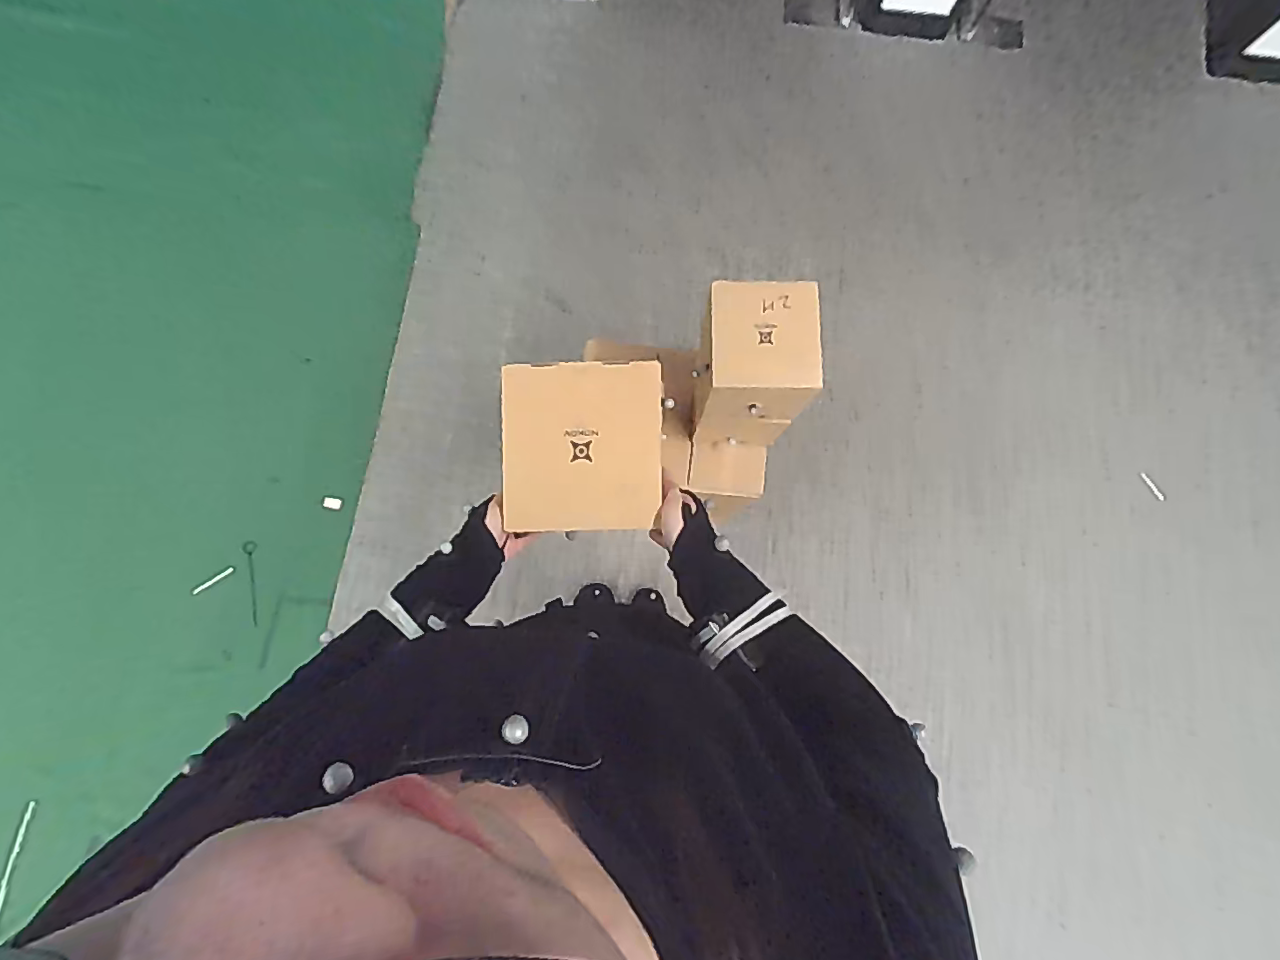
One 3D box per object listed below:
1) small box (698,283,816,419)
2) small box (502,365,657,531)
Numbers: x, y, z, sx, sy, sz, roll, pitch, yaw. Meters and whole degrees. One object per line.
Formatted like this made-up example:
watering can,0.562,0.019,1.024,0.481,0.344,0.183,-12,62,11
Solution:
small box,0.189,-0.206,0.907,0.168,0.176,0.179,2,80,0
small box,-0.062,-0.034,0.651,0.168,0.176,0.179,-1,89,1
